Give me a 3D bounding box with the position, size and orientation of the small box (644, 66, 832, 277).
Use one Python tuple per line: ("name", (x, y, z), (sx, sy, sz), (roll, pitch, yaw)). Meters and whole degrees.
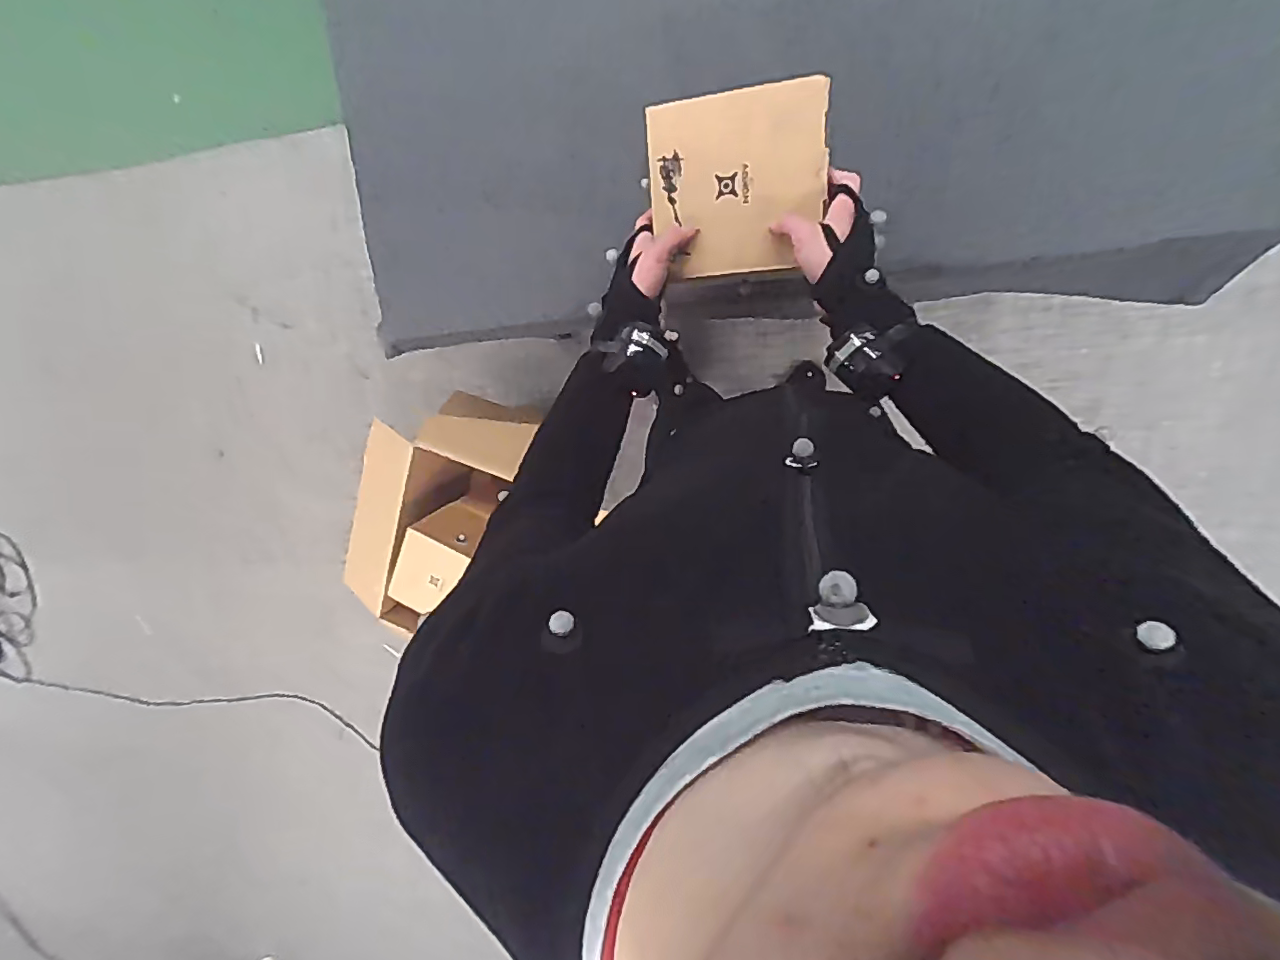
("small box", (0.110, -0.322, 0.603), (0.179, 0.176, 0.168), (0, 107, 14))
